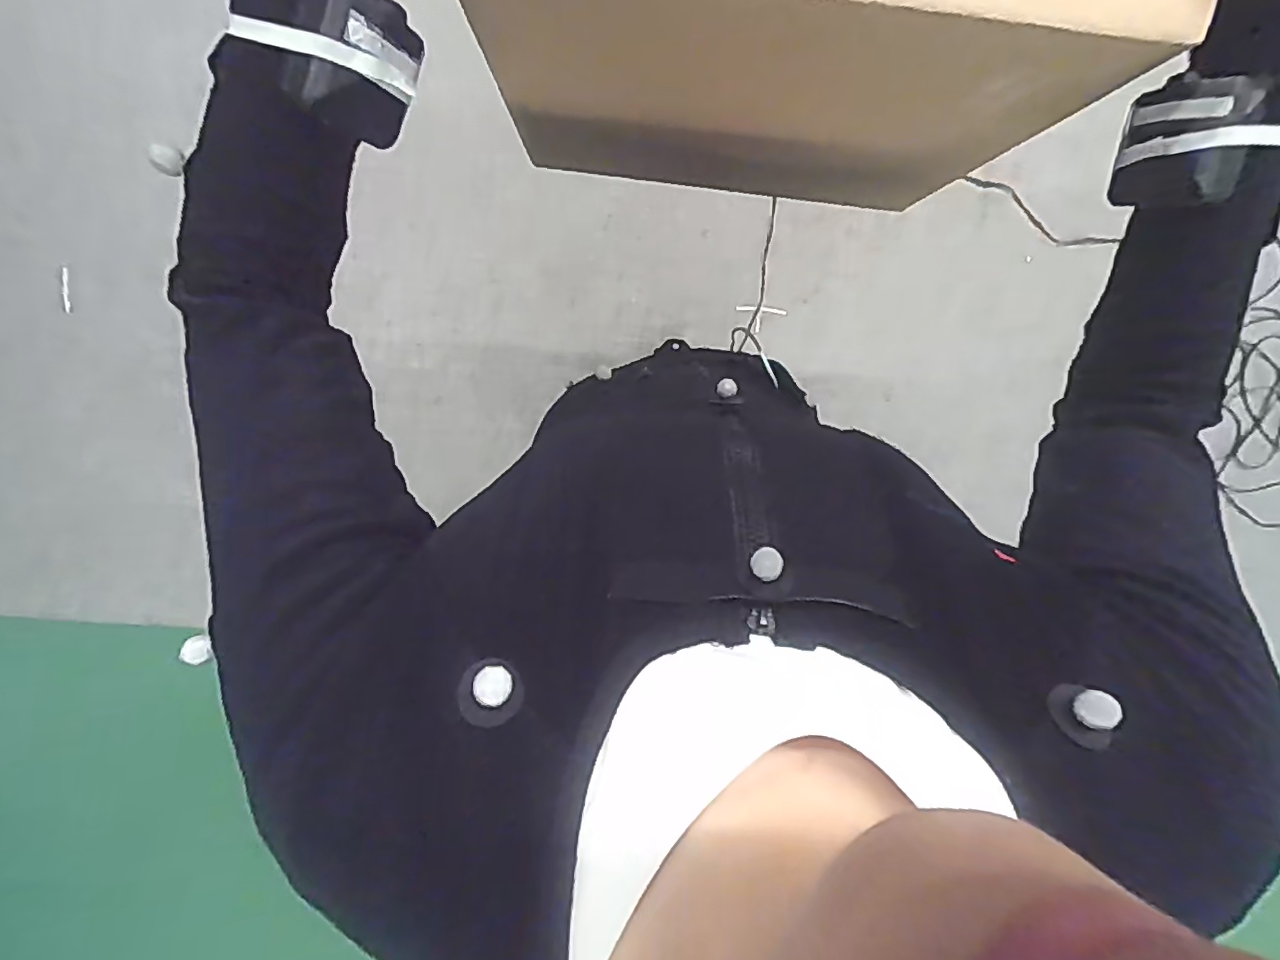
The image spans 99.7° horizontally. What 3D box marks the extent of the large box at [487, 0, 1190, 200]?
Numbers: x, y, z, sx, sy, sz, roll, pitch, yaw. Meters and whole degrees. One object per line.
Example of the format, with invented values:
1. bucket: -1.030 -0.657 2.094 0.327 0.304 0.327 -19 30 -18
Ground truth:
1. large box: 0.109 -0.436 0.407 0.408 0.320 0.320 4 102 -4
